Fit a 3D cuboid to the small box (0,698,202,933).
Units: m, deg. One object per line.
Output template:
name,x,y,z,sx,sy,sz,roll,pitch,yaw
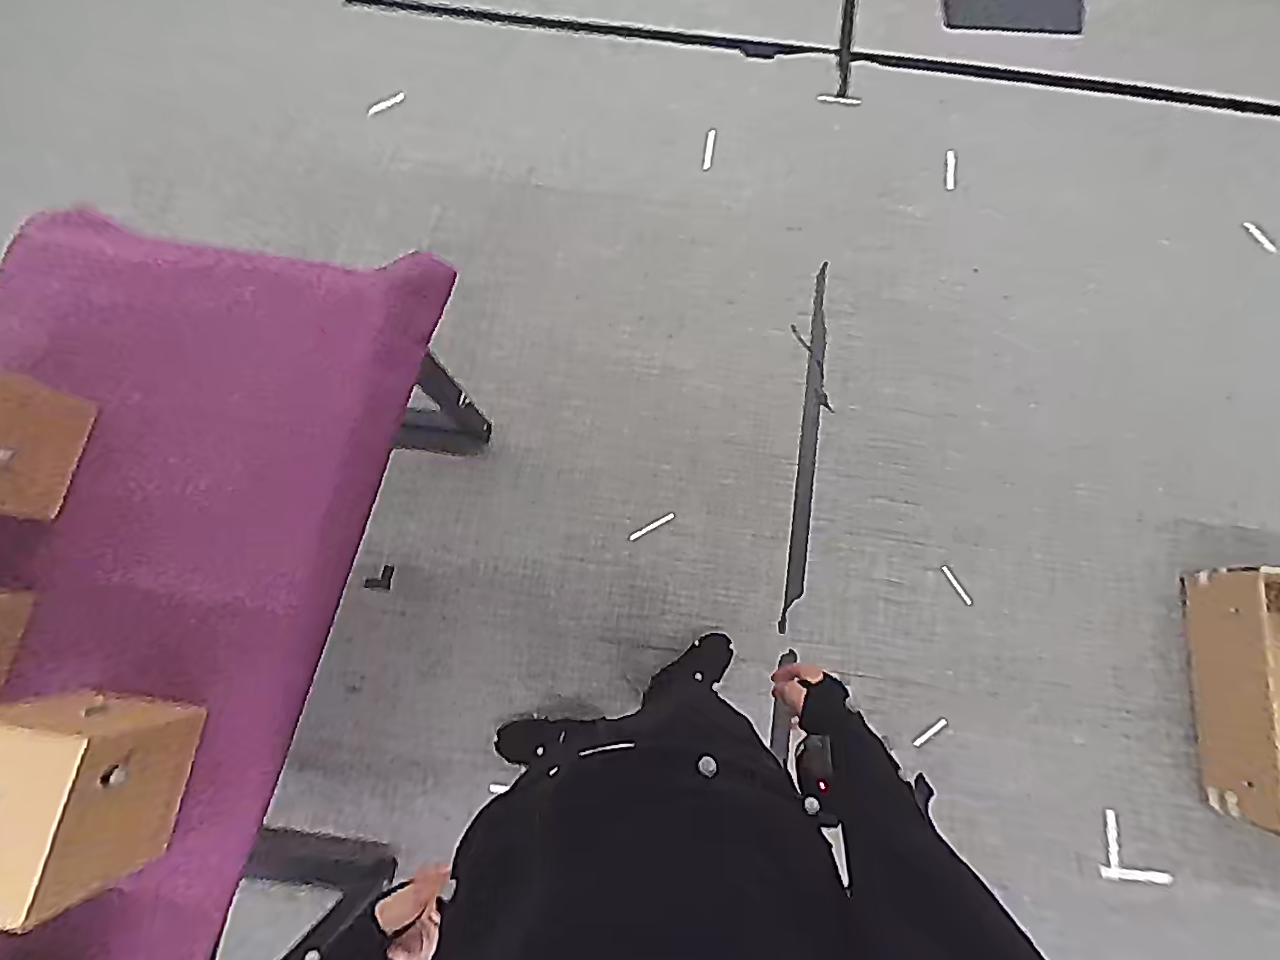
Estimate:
small box,-0.660,0.361,0.620,0.168,0.176,0.179,8,78,1
